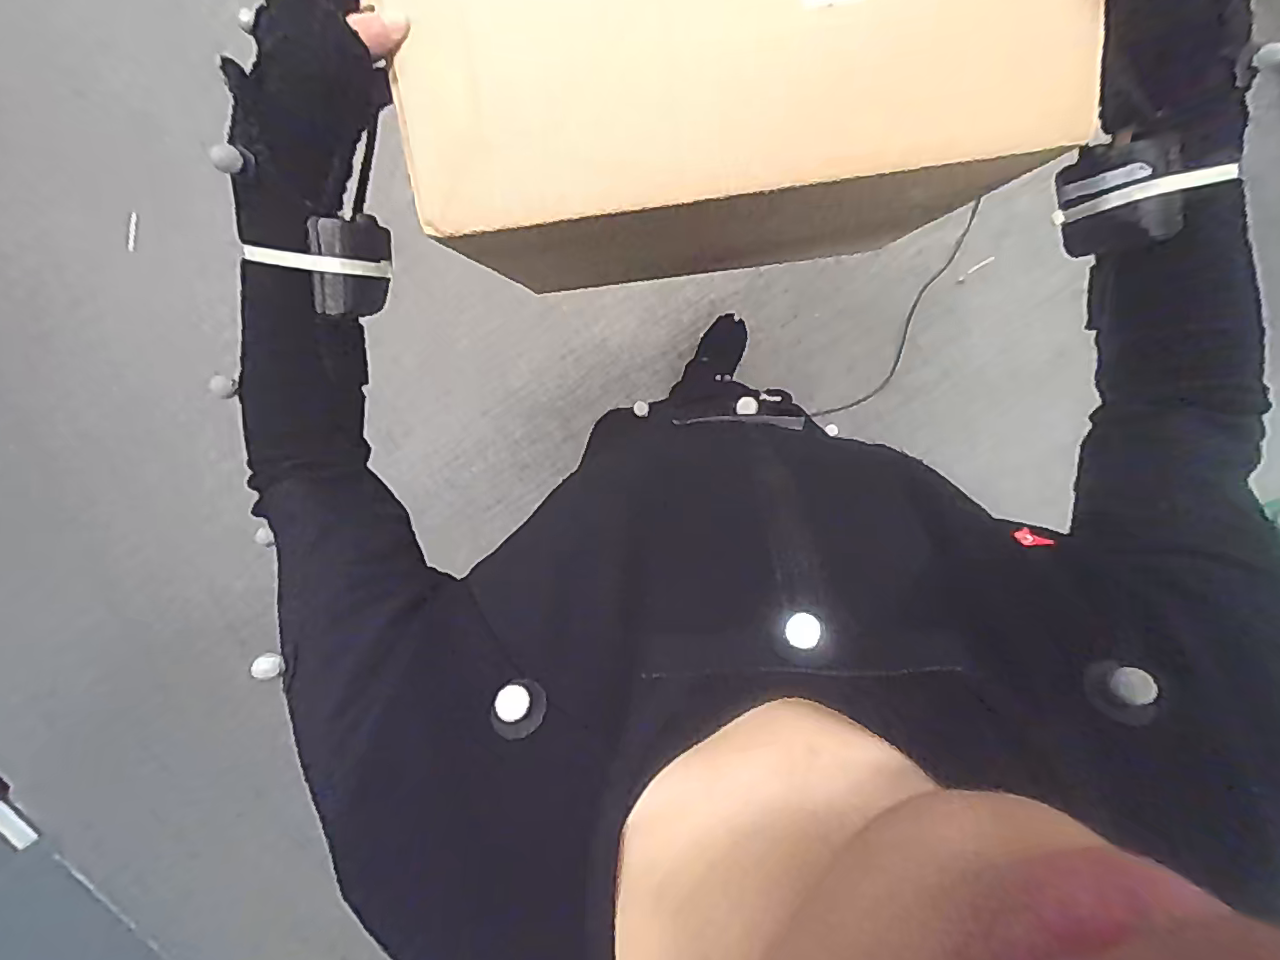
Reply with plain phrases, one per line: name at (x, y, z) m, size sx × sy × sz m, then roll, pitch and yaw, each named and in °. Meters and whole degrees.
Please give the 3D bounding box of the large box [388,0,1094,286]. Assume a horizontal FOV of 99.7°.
large box at (0.048, -0.364, 0.440) m, size 0.408 × 0.320 × 0.320 m, roll -7°, pitch 103°, yaw 3°
